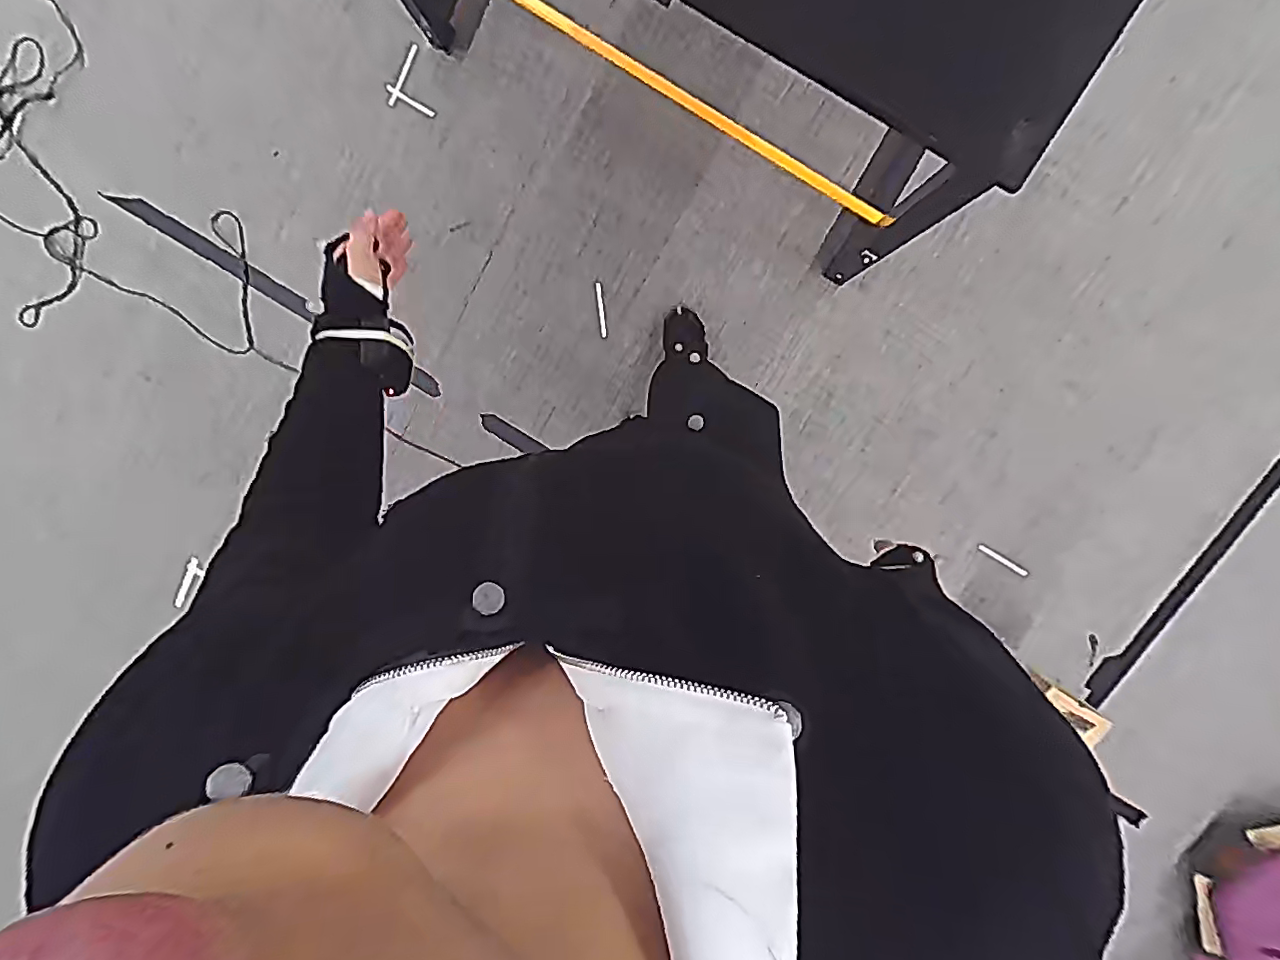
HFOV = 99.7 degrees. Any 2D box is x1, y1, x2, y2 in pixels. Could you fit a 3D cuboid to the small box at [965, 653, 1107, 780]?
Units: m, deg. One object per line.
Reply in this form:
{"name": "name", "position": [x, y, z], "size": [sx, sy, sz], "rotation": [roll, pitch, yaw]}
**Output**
{"name": "small box", "position": [0.911, 0.543, 1.266], "size": [0.168, 0.176, 0.179], "rotation": [32, 101, -3]}

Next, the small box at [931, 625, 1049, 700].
{"name": "small box", "position": [0.916, 0.510, 1.429], "size": [0.179, 0.176, 0.168], "rotation": [33, 100, -2]}
